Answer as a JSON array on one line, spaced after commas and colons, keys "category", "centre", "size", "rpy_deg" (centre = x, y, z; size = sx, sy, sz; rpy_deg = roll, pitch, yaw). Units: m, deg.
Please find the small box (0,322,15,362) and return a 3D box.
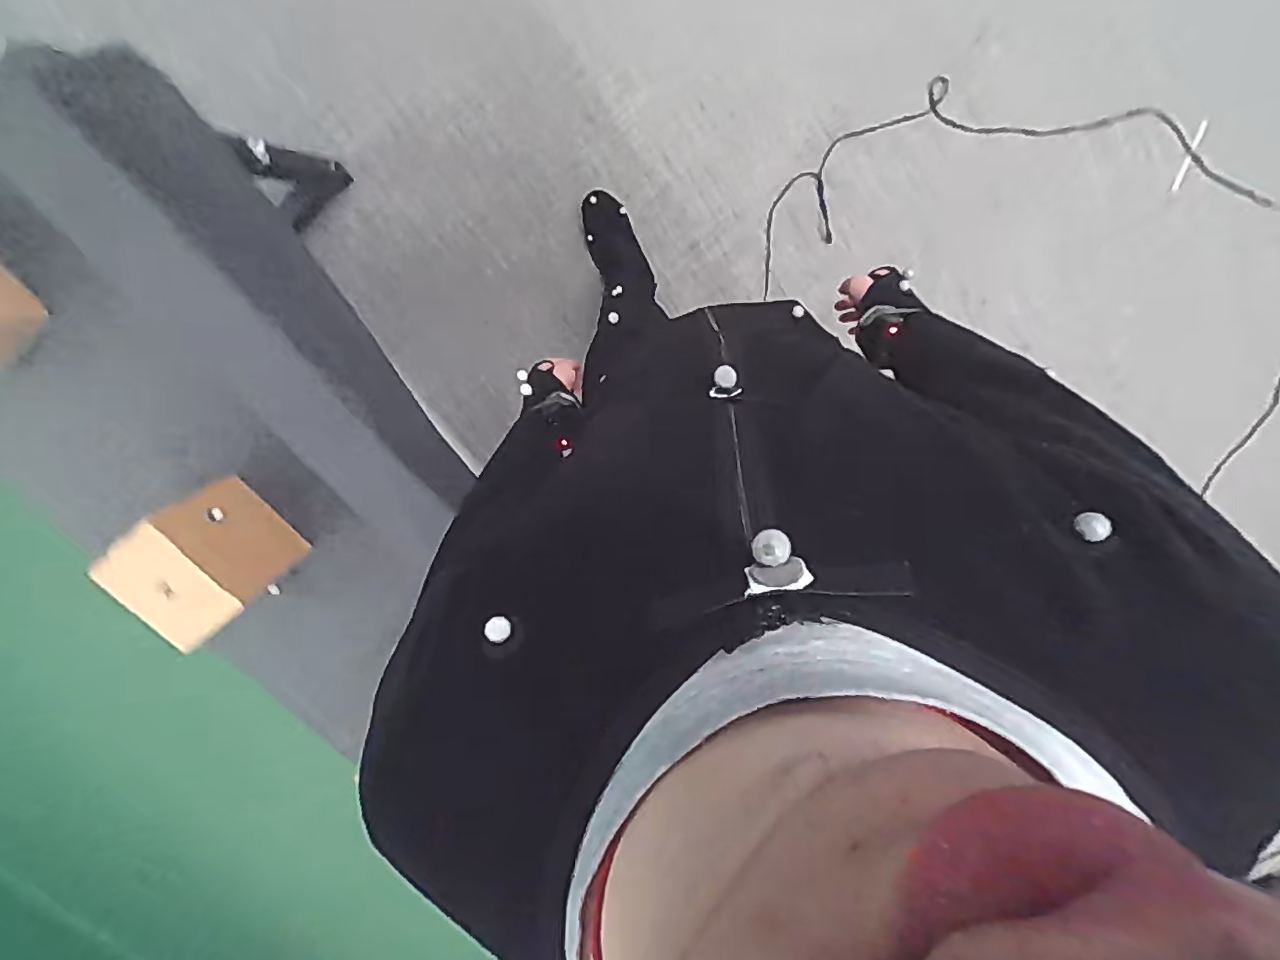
[{"category": "small box", "centre": [-0.988, -0.194, 0.679], "size": [0.168, 0.176, 0.179], "rpy_deg": [-33, 107, 14]}]
